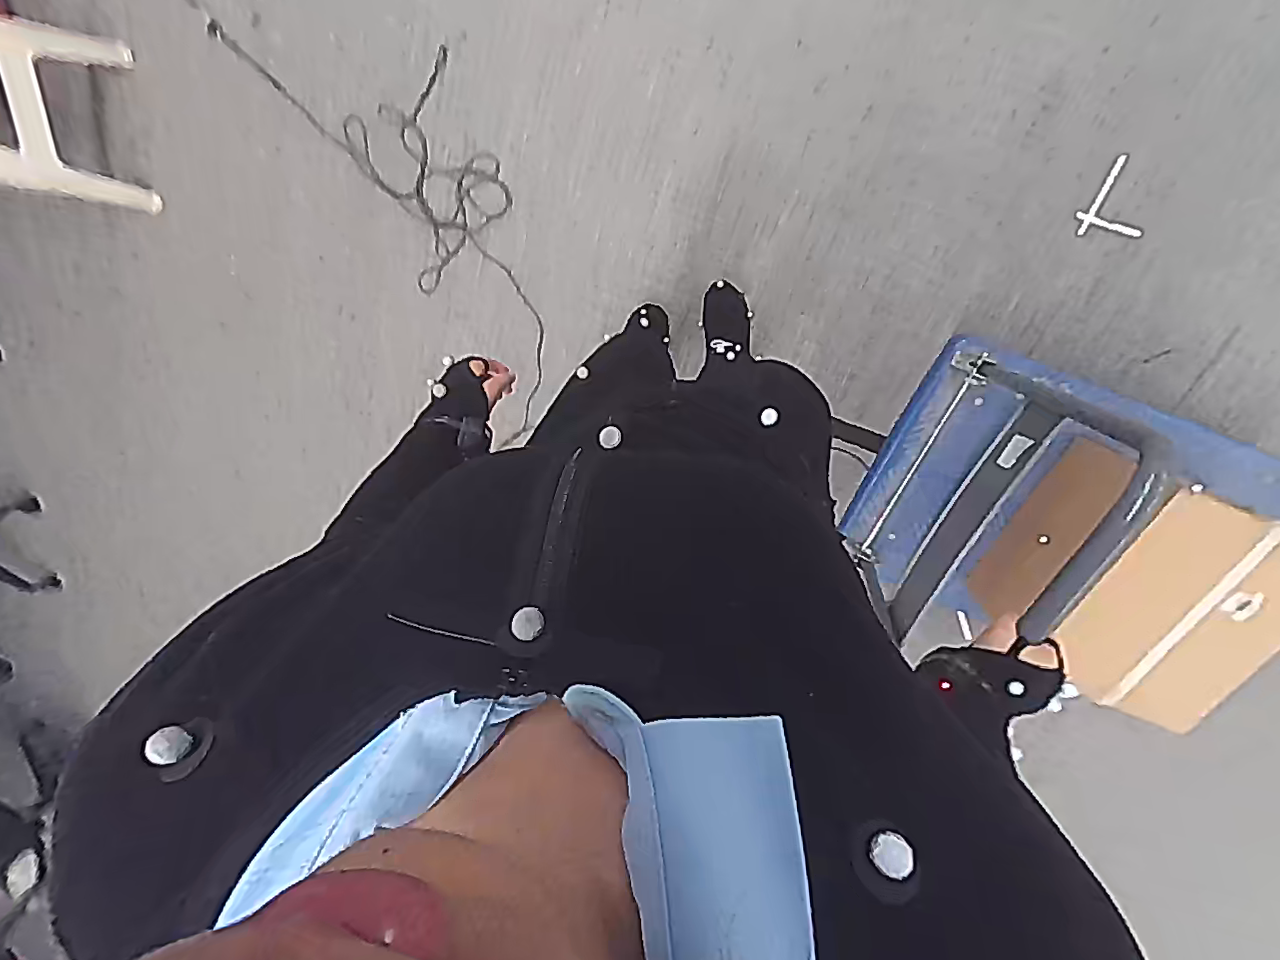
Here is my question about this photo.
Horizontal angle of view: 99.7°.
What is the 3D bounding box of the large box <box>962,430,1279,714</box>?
[{"bbox_3d":[0.946,0.166,1.088,0.320,0.320,0.408,23,112,1],"label":"large box"}]
